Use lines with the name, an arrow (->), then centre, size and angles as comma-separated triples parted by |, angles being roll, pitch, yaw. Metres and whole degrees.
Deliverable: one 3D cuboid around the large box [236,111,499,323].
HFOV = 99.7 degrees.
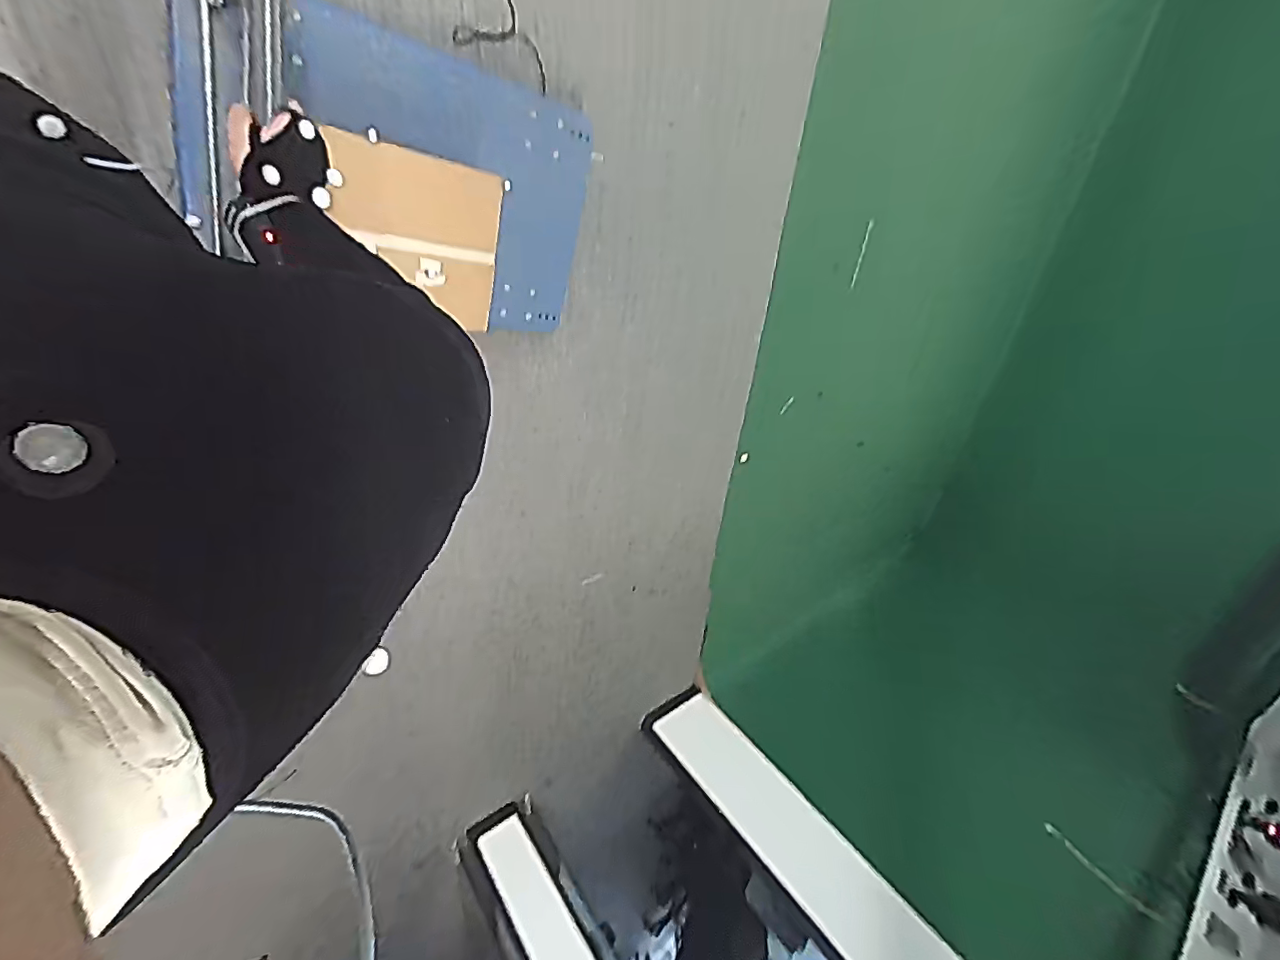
large box -> -0.559, -0.529, 1.120 | 0.408, 0.320, 0.320 | -8, 123, -40
